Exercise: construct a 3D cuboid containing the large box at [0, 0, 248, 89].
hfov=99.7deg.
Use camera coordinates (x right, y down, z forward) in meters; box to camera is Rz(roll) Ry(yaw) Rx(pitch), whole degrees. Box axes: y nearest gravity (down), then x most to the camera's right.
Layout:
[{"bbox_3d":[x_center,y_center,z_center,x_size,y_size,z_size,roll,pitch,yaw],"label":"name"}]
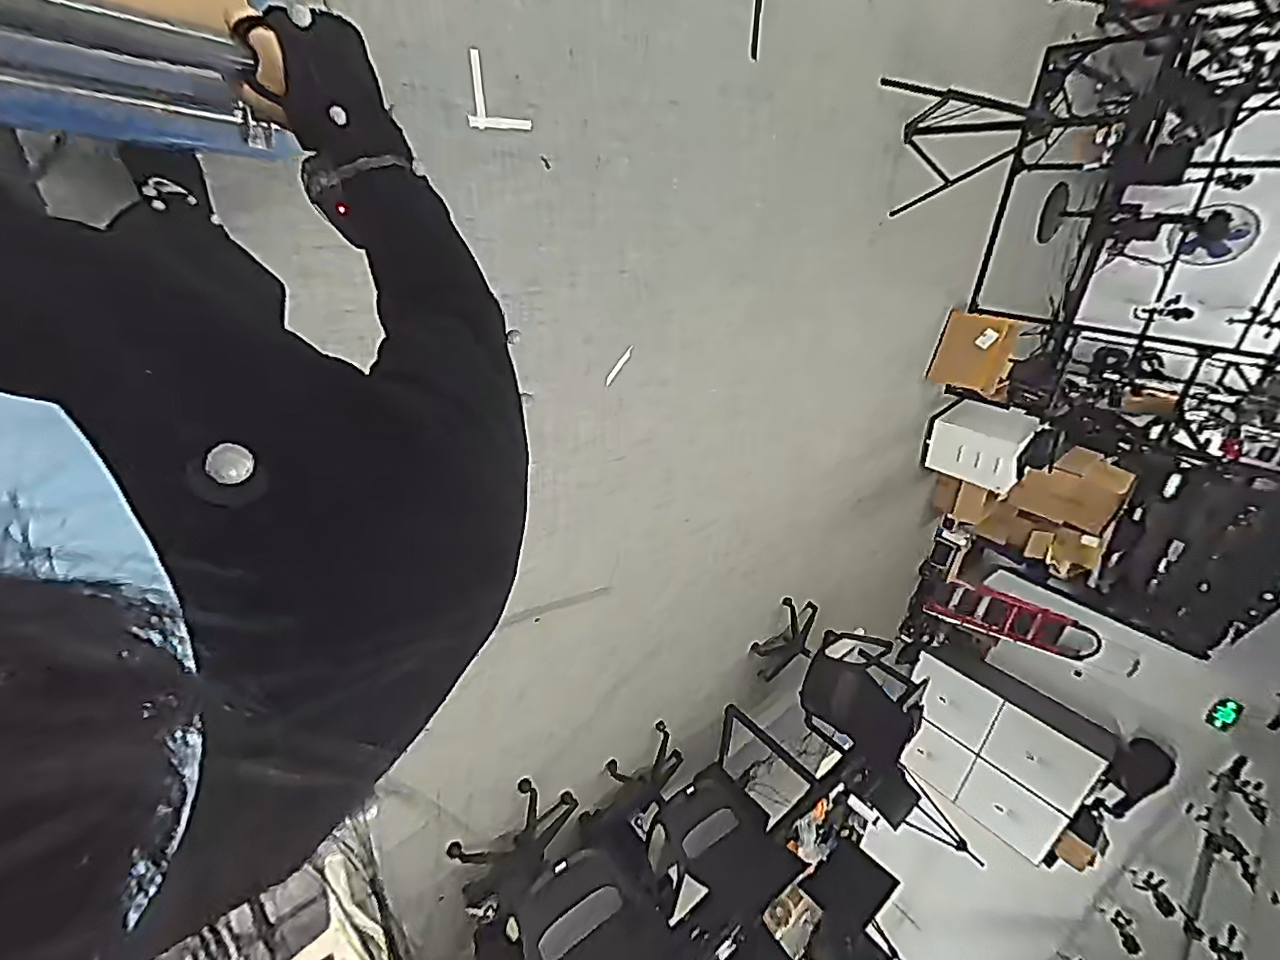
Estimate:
[{"bbox_3d":[-0.740,-0.690,0.610,0.408,0.320,0.320,-16,121,-40],"label":"large box"}]
